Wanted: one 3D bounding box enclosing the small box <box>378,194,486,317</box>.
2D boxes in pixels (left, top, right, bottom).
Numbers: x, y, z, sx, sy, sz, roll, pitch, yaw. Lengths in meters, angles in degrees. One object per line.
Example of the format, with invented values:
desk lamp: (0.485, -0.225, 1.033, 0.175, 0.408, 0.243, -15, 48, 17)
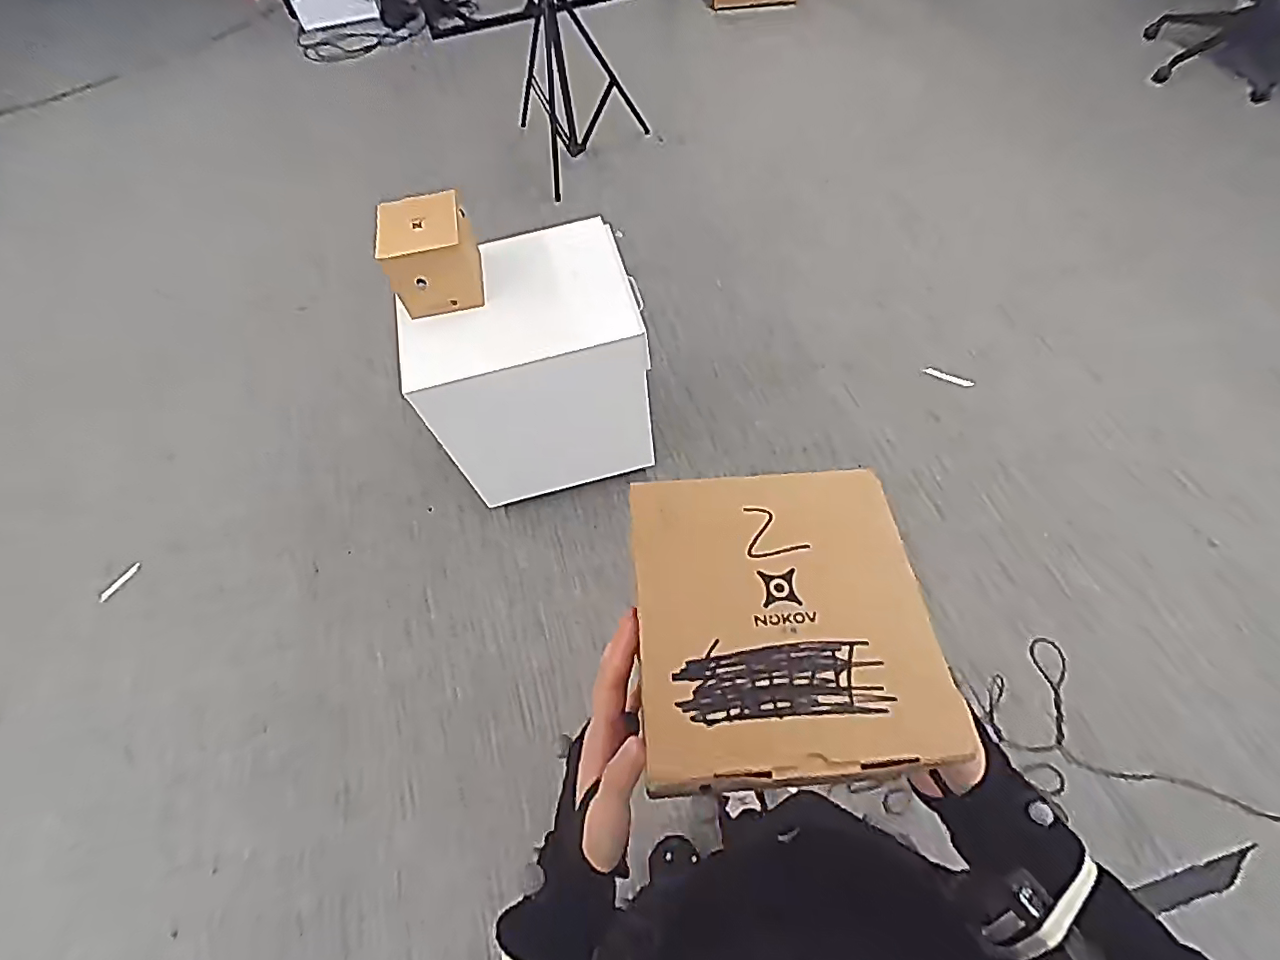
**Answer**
small box: (-0.439, -0.472, 1.161, 0.168, 0.176, 0.179, -12, 62, -2)
